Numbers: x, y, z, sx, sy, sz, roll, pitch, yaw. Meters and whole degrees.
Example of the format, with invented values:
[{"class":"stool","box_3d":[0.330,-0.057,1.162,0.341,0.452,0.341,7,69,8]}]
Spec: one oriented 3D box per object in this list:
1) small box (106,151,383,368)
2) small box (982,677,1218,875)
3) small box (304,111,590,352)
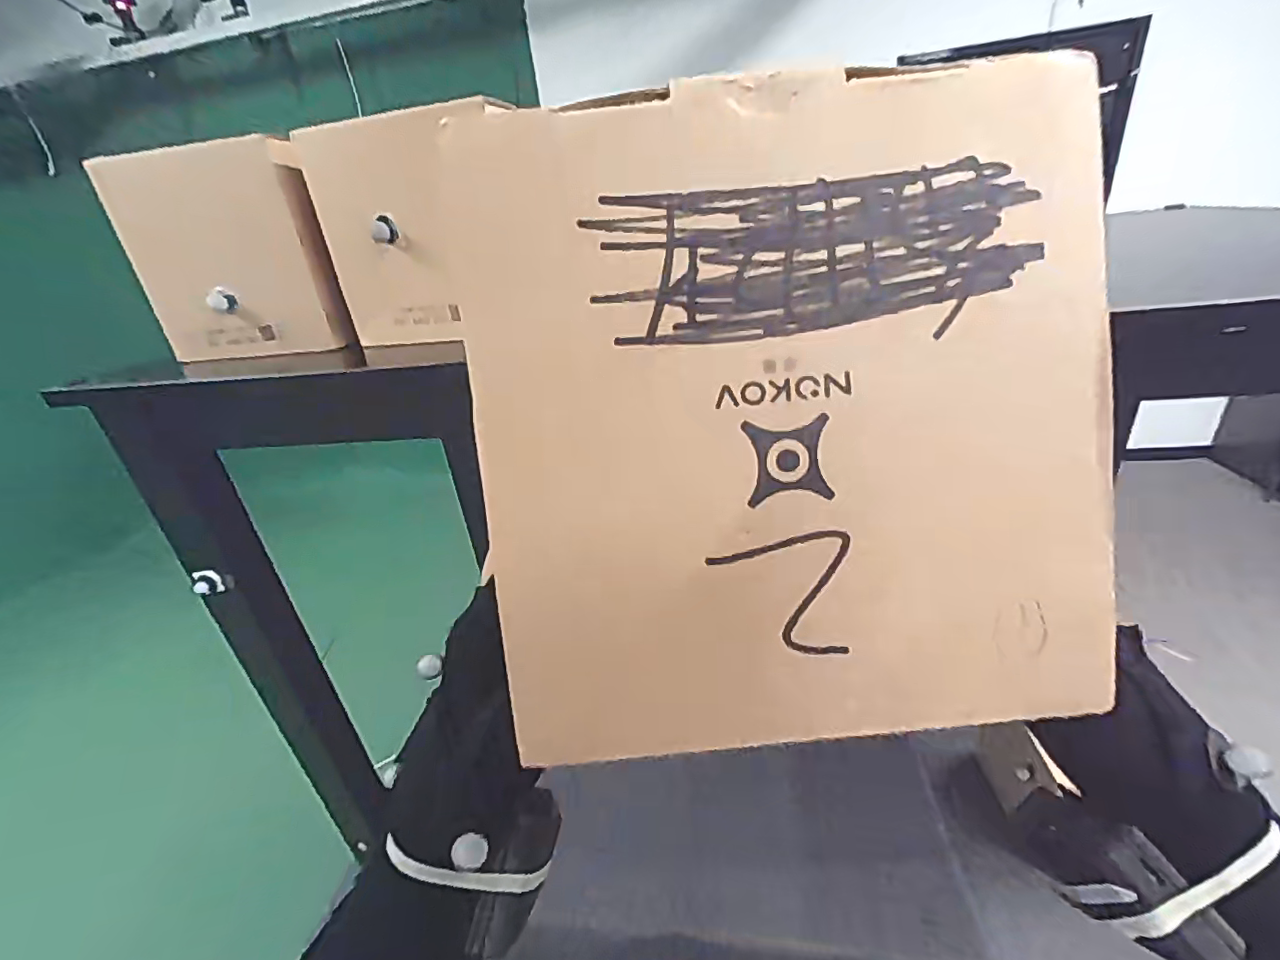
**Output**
[{"class":"small box","box_3d":[-0.342,-0.216,0.539,0.168,0.176,0.179,-2,27,9]},{"class":"small box","box_3d":[0.591,0.391,0.726,0.168,0.176,0.179,-3,25,9]},{"class":"small box","box_3d":[-0.154,-0.219,0.504,0.168,0.176,0.179,0,26,14]}]
